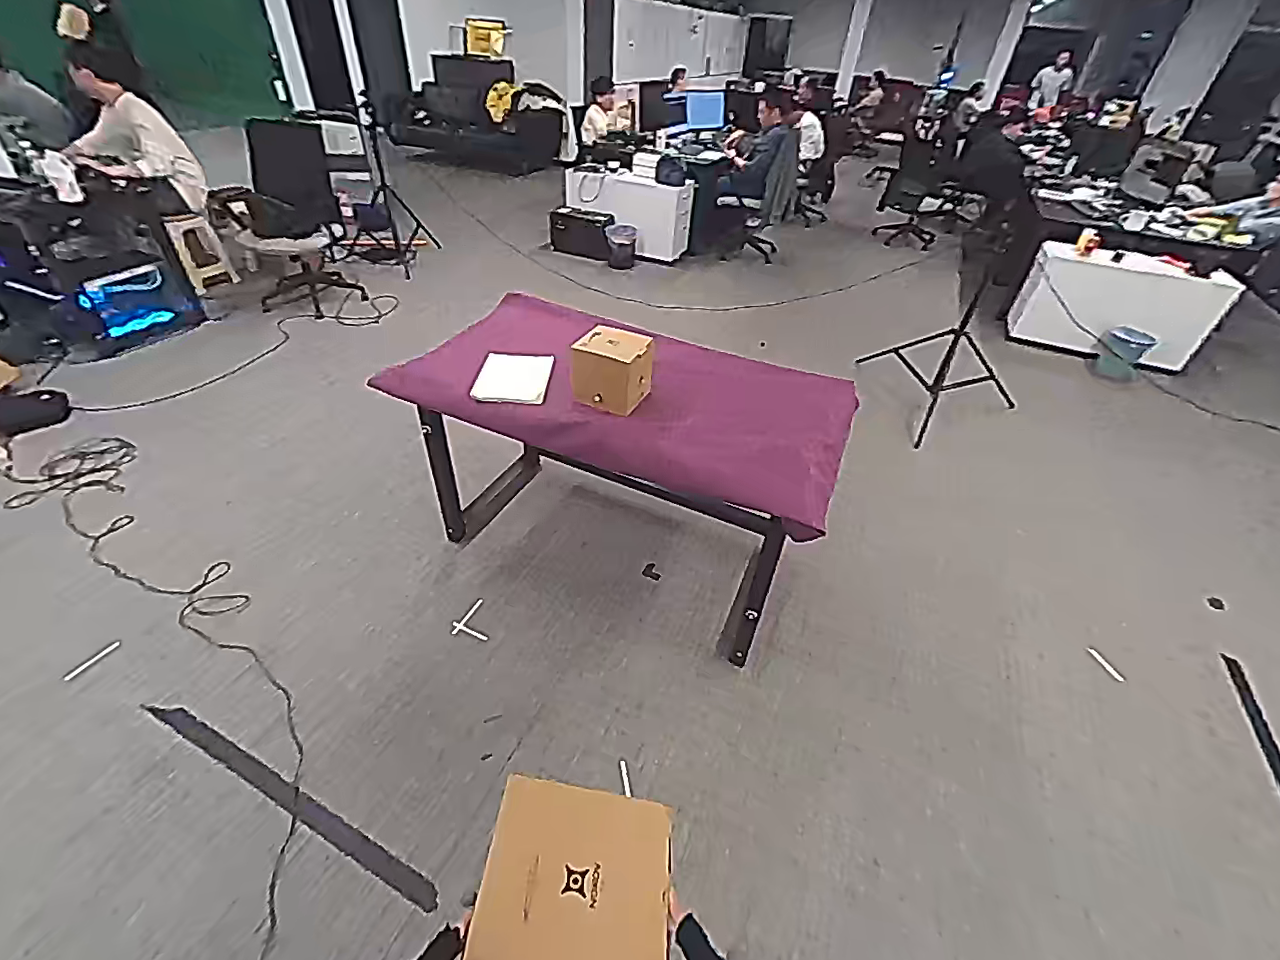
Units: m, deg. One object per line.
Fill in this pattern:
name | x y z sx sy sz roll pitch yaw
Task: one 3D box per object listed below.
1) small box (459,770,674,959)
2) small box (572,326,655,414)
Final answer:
small box | -0.073 0.423 0.532 0.179 0.176 0.168 13 32 -5
small box | -0.075 -0.303 1.510 0.179 0.176 0.168 19 41 16
